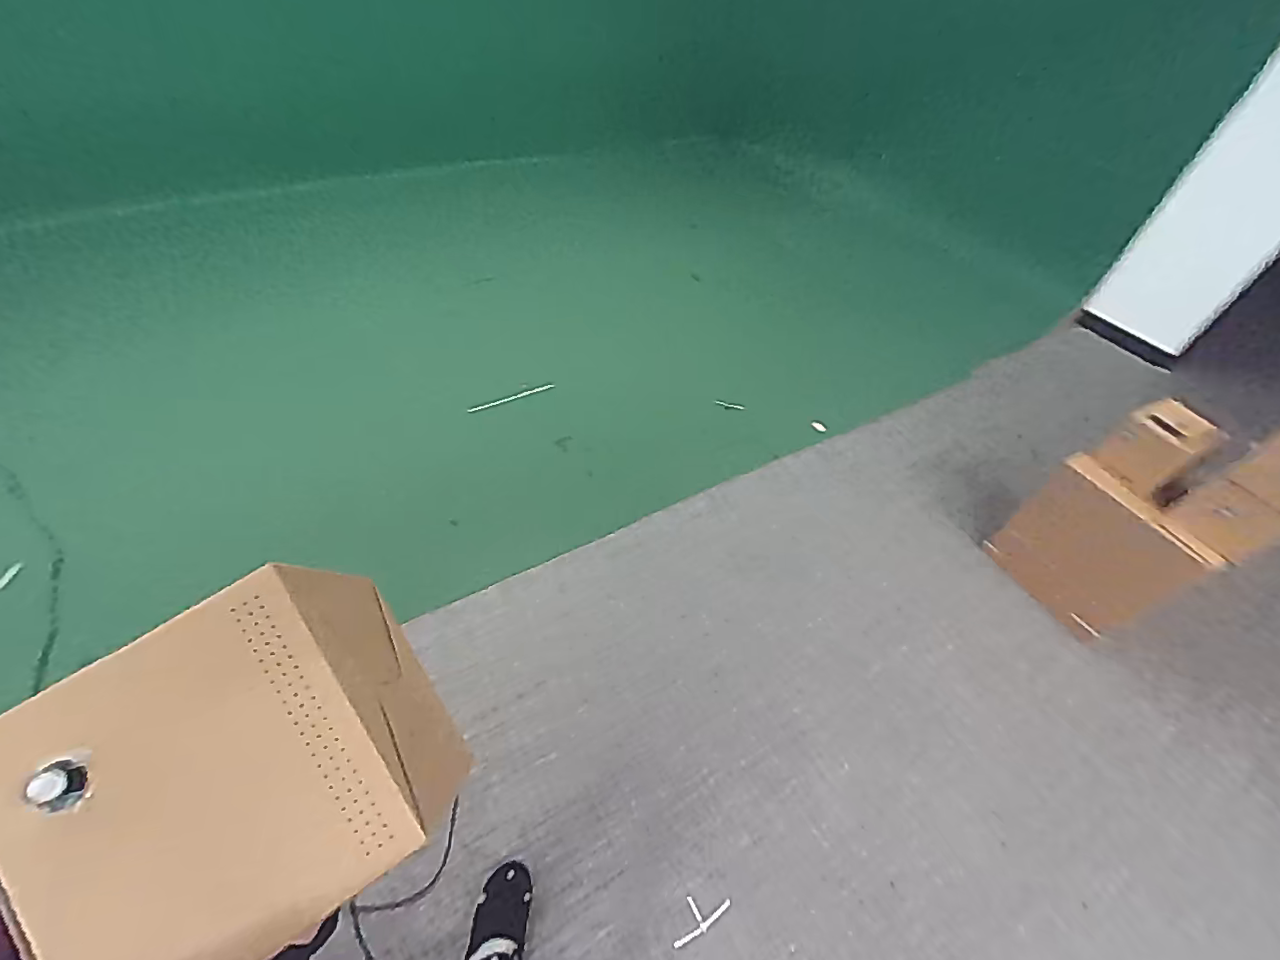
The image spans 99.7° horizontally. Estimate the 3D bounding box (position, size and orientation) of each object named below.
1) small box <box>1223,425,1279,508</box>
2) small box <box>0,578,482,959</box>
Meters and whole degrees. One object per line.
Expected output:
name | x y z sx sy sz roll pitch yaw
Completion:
small box | 1.487 -0.042 1.195 0.168 0.176 0.179 -21 54 -19
small box | -0.228 0.177 0.359 0.176 0.168 0.179 -32 83 -14
